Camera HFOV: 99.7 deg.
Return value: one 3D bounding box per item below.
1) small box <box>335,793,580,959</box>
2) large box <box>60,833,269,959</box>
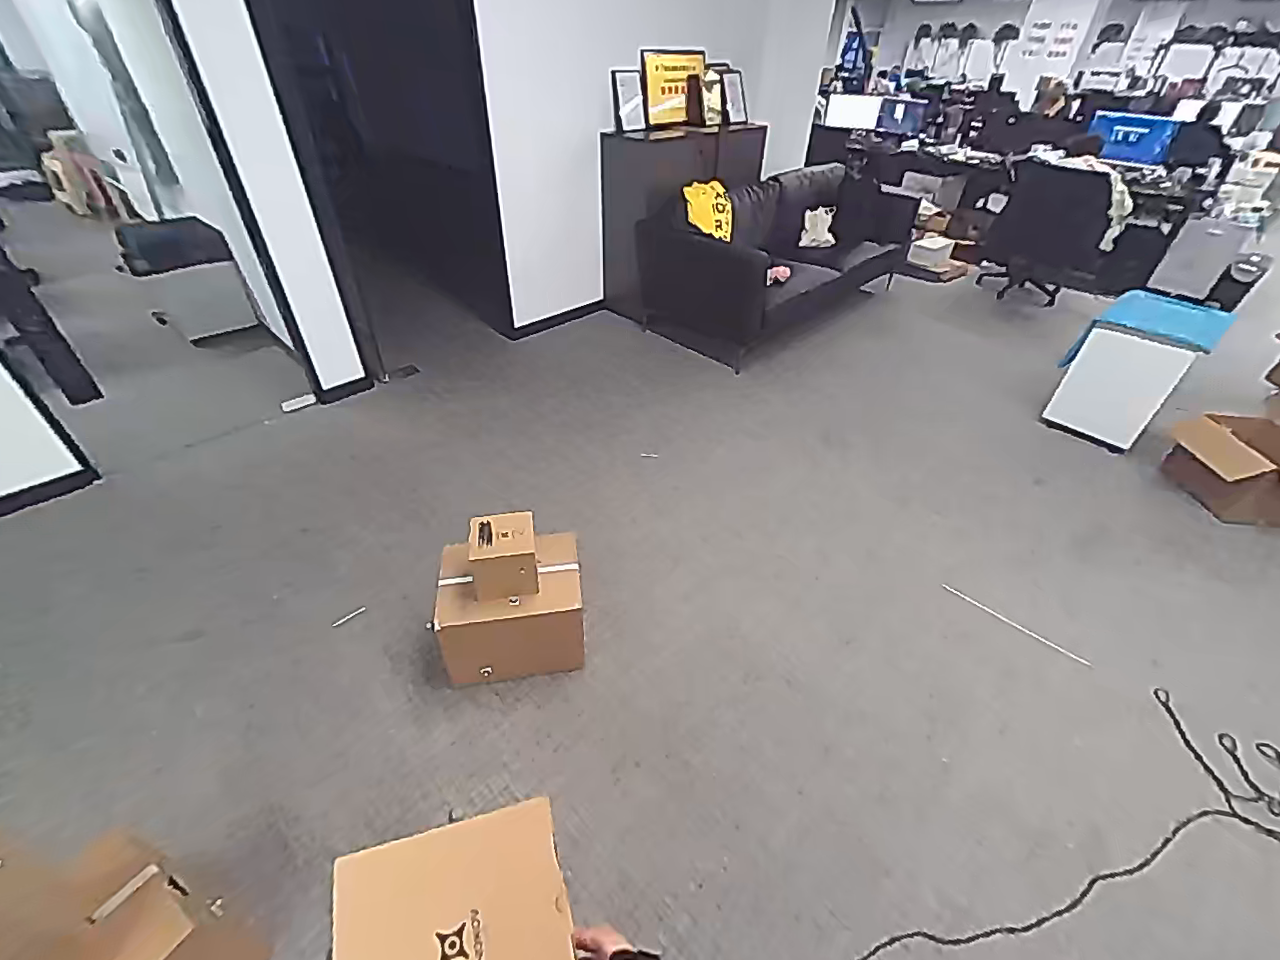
[{"bbox_3d":[-0.159,0.408,0.478,0.179,0.176,0.168,-4,51,-23],"label":"small box"},{"bbox_3d":[-1.007,0.967,0.978,0.320,0.320,0.408,21,44,24],"label":"large box"}]
